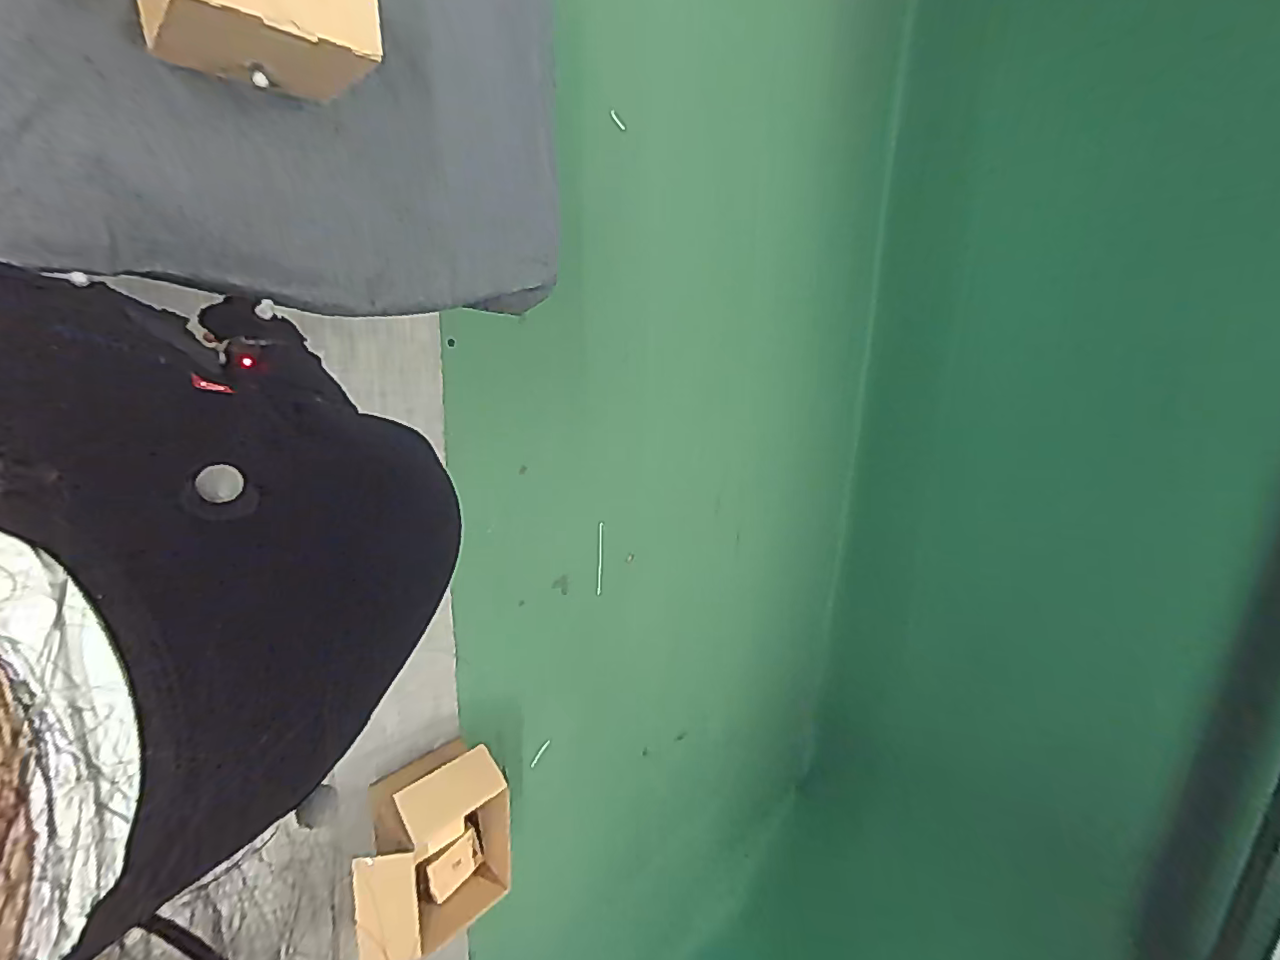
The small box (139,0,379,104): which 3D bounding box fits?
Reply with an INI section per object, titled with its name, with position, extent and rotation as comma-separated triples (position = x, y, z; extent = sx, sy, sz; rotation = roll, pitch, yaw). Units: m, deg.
[small box]
position = -0.380, -0.508, 0.526
extent = 0.168, 0.176, 0.179
rotation = -15, 112, -44
